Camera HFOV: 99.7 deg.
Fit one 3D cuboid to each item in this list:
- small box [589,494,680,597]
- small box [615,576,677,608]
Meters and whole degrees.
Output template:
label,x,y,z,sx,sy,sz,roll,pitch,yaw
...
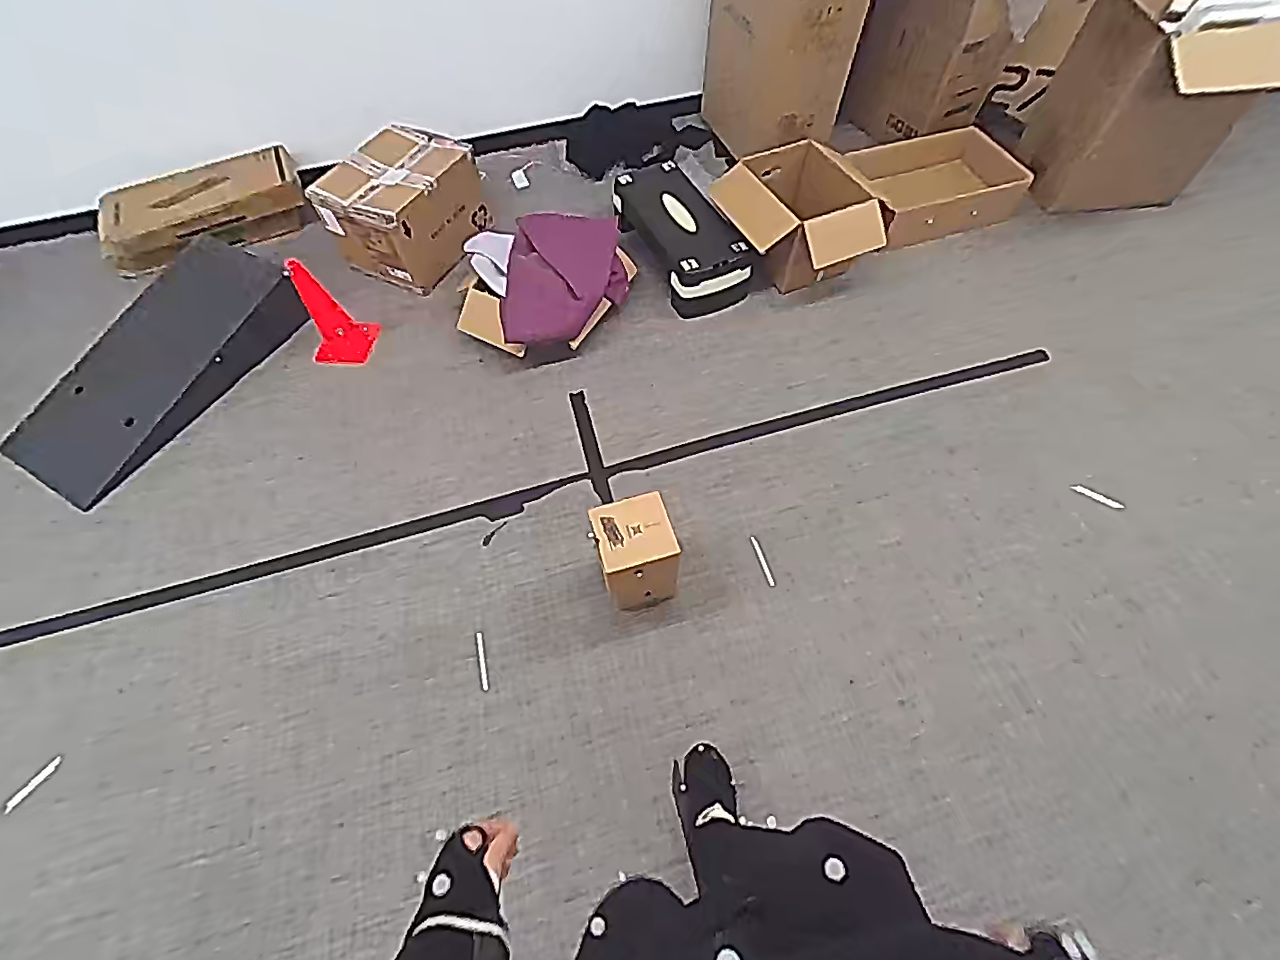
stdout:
label,x,y,z,sx,sy,sz,roll,pitch,yaw
small box,-0.011,0.162,1.287,0.179,0.176,0.168,-15,61,-7
small box,-0.001,0.229,1.439,0.168,0.176,0.179,-13,61,-6
